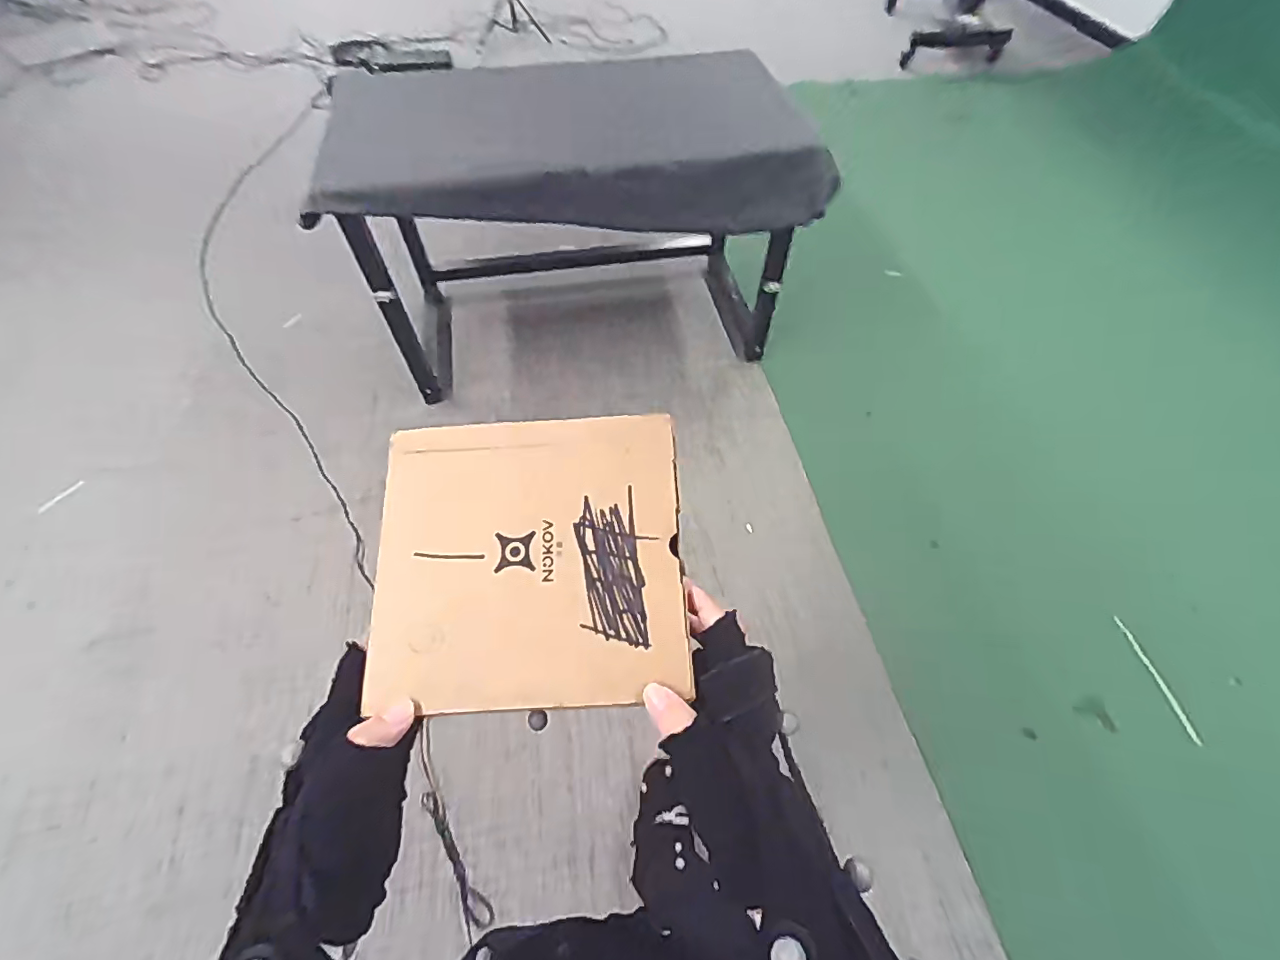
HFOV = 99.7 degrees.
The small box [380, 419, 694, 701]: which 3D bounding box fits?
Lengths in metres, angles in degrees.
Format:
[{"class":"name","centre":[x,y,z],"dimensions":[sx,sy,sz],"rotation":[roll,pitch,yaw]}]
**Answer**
[{"class":"small box","centre":[-0.059,0.067,0.398],"dimensions":[0.179,0.176,0.168],"rotation":[-3,70,0]}]
